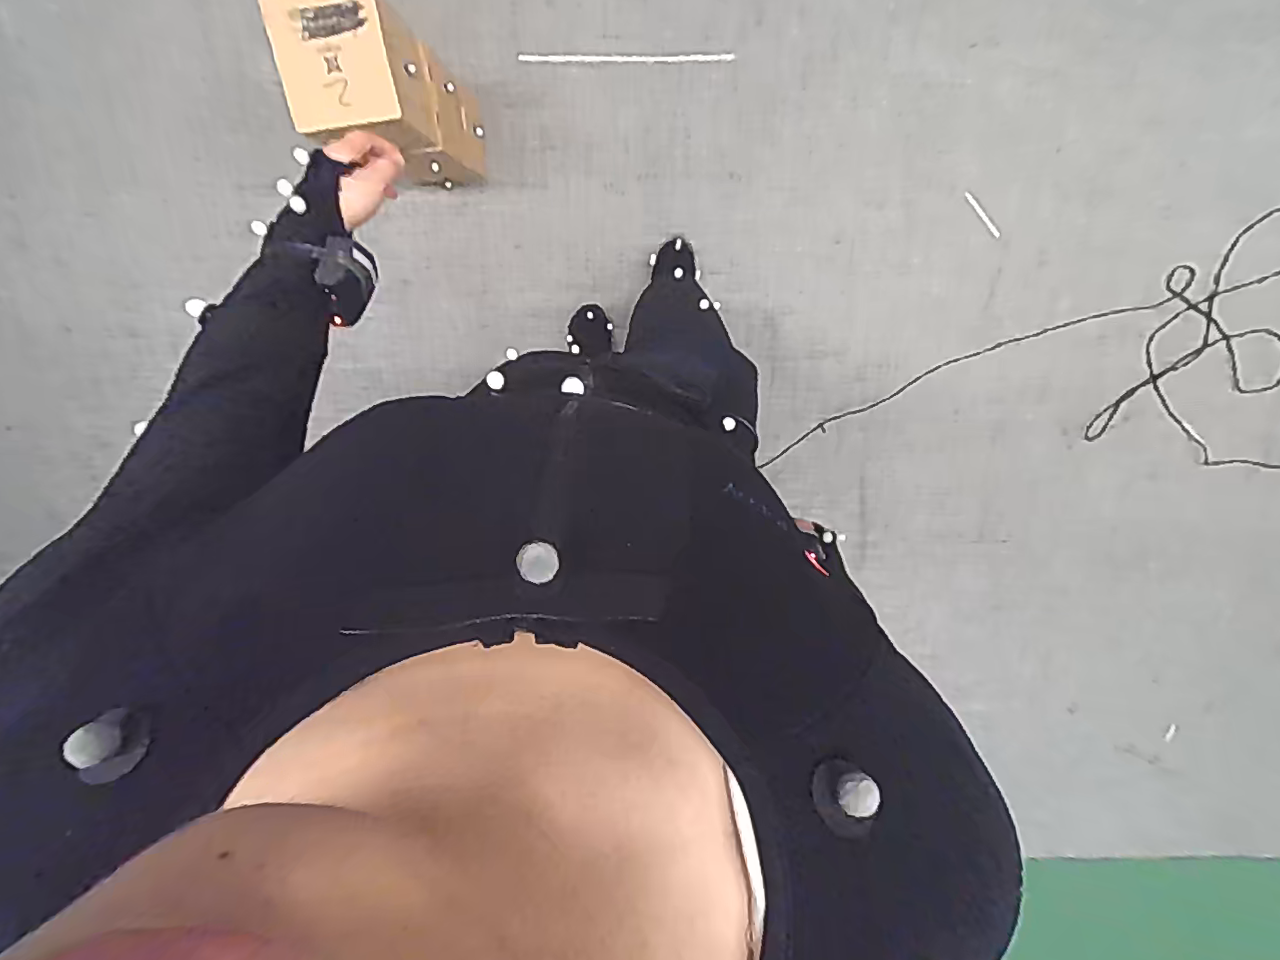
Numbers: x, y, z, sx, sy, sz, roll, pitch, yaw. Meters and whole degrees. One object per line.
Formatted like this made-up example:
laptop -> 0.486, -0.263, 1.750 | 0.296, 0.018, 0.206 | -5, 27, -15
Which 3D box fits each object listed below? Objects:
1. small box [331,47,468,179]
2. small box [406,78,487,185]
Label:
small box -> -0.443, -0.690, 1.034 | 0.179, 0.176, 0.168 | -4, 108, 3
small box -> -0.444, -0.754, 1.184 | 0.179, 0.176, 0.168 | -2, 109, 1
